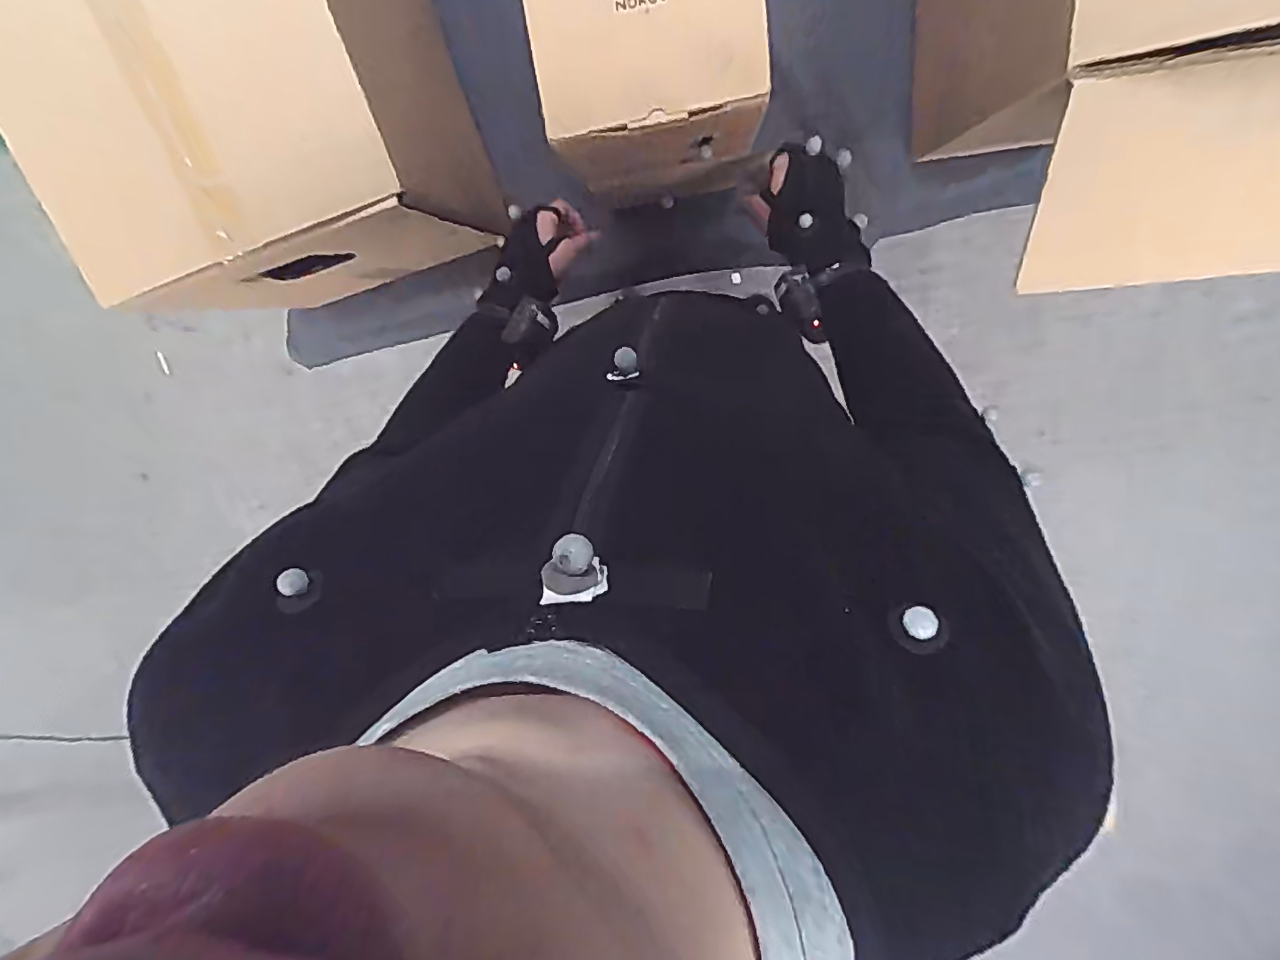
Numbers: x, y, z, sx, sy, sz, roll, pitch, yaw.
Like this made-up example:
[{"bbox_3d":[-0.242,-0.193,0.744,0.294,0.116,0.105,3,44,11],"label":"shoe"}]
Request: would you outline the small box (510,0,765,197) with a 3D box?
[{"bbox_3d":[0.002,-0.340,0.433,0.168,0.176,0.179,-8,109,7],"label":"small box"}]
